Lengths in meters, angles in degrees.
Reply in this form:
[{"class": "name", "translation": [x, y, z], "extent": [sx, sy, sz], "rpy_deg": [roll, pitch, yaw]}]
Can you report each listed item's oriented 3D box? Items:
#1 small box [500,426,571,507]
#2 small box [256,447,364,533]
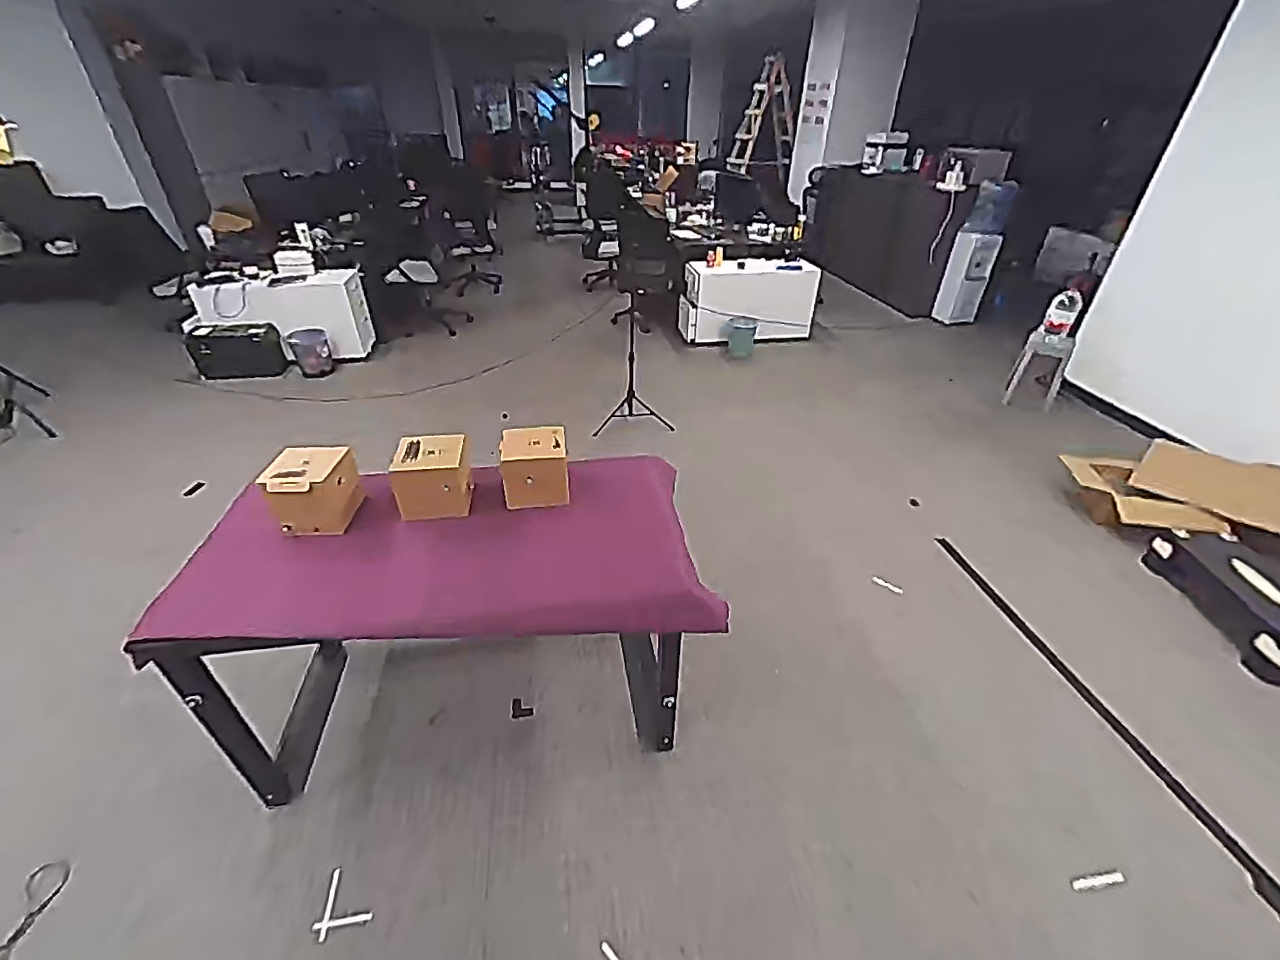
[{"class": "small box", "translation": [-0.293, -0.037, 1.539], "extent": [0.179, 0.176, 0.168], "rpy_deg": [-5, 37, -7]}, {"class": "small box", "translation": [-0.859, 0.028, 1.431], "extent": [0.168, 0.176, 0.179], "rpy_deg": [-1, 35, -3]}]
